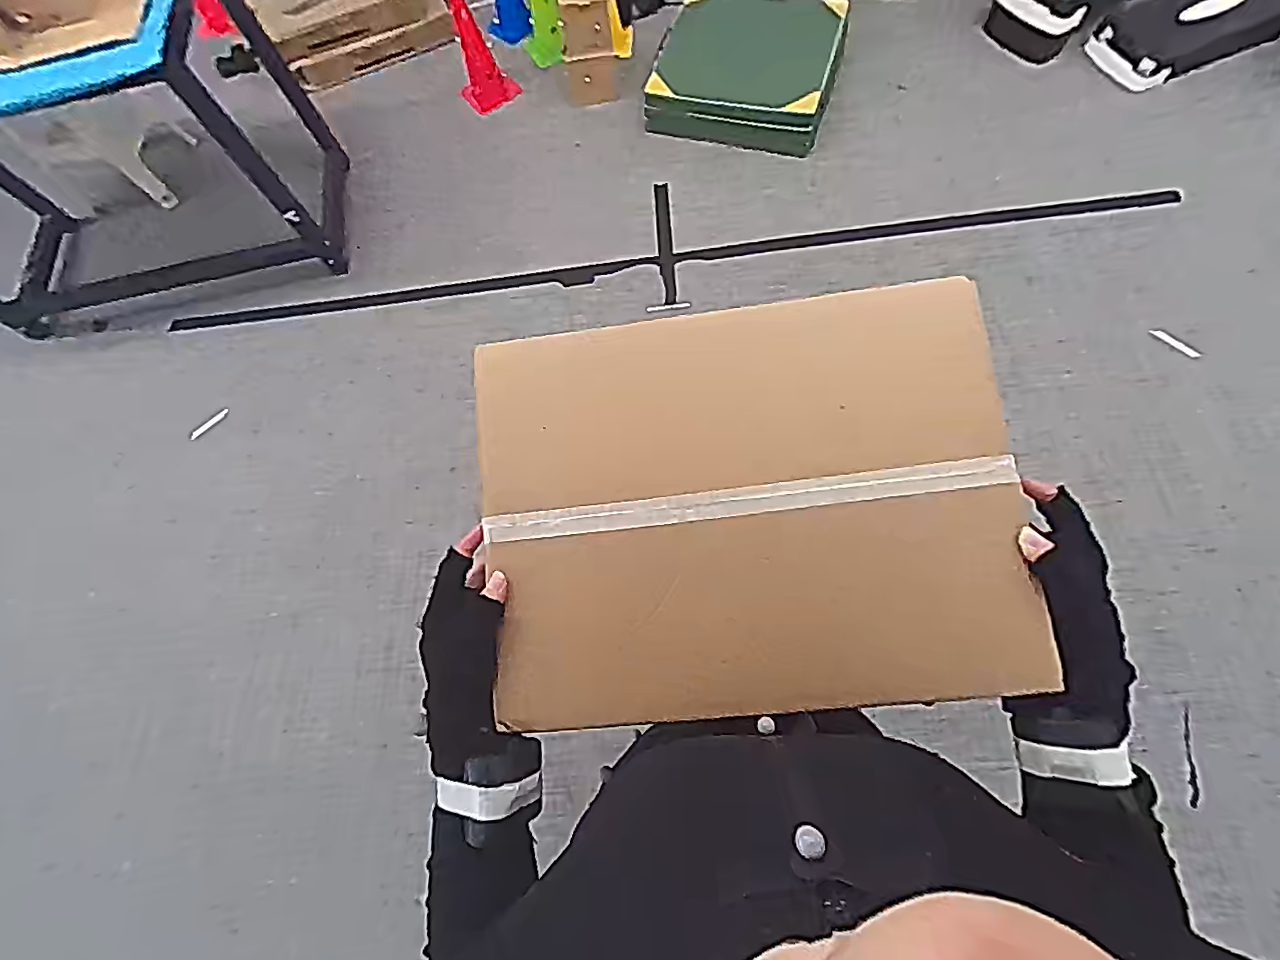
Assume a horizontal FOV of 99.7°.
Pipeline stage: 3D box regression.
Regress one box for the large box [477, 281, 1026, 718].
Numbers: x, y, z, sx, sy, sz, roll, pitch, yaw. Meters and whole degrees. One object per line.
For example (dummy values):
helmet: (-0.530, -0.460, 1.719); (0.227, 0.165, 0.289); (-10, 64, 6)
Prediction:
large box: (0.087, 0.033, 0.577); (0.408, 0.320, 0.320); (-7, 80, 5)
